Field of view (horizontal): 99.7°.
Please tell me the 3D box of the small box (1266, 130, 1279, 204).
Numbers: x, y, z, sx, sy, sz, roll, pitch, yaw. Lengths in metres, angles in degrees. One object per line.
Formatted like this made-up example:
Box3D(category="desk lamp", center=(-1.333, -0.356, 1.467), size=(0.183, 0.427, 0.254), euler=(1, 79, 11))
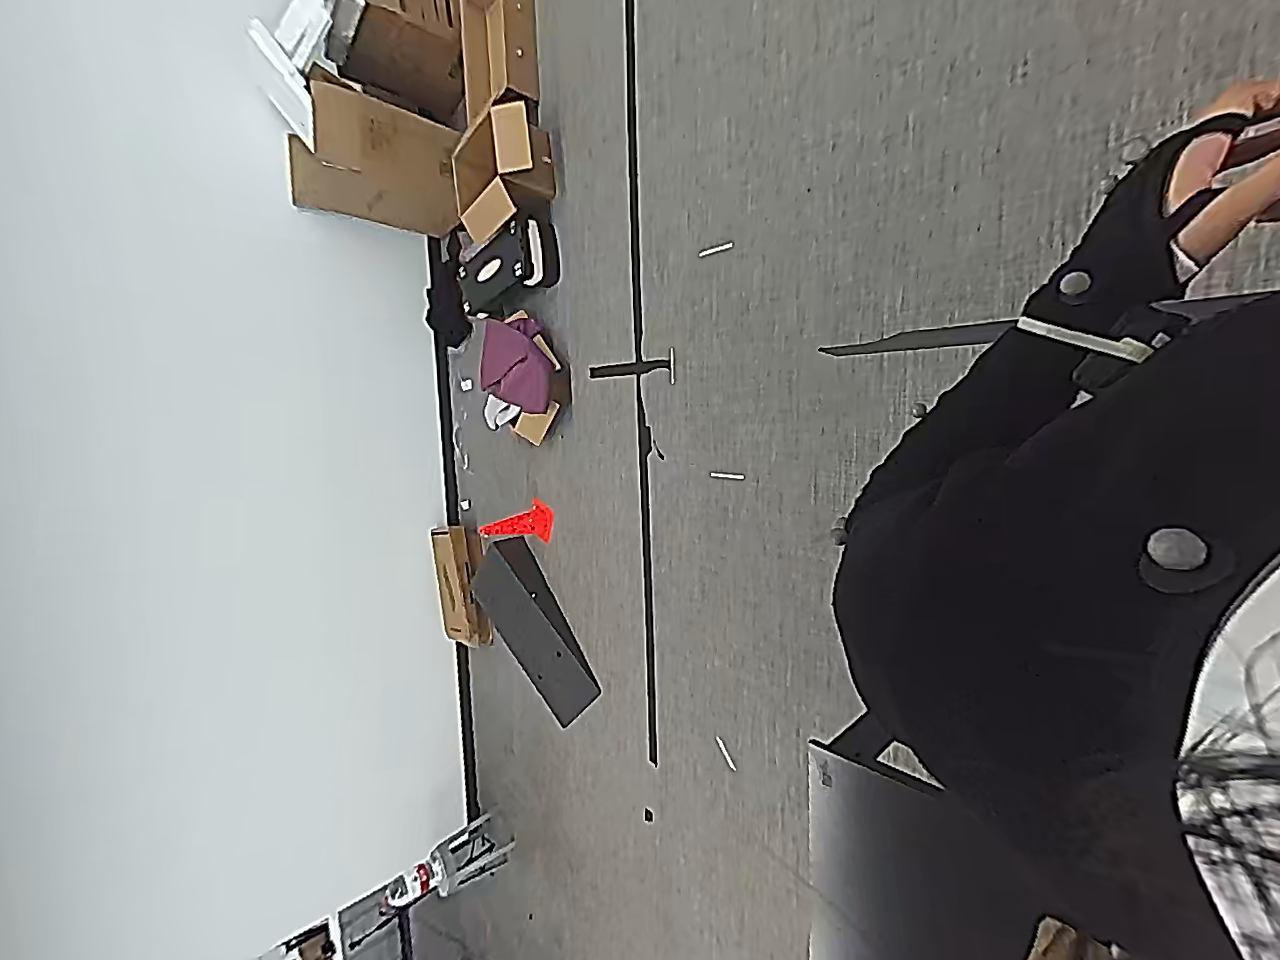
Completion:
Box3D(category="small box", center=(0.481, -0.259, 0.283), size=(0.168, 0.176, 0.179), euler=(18, 110, 41))
